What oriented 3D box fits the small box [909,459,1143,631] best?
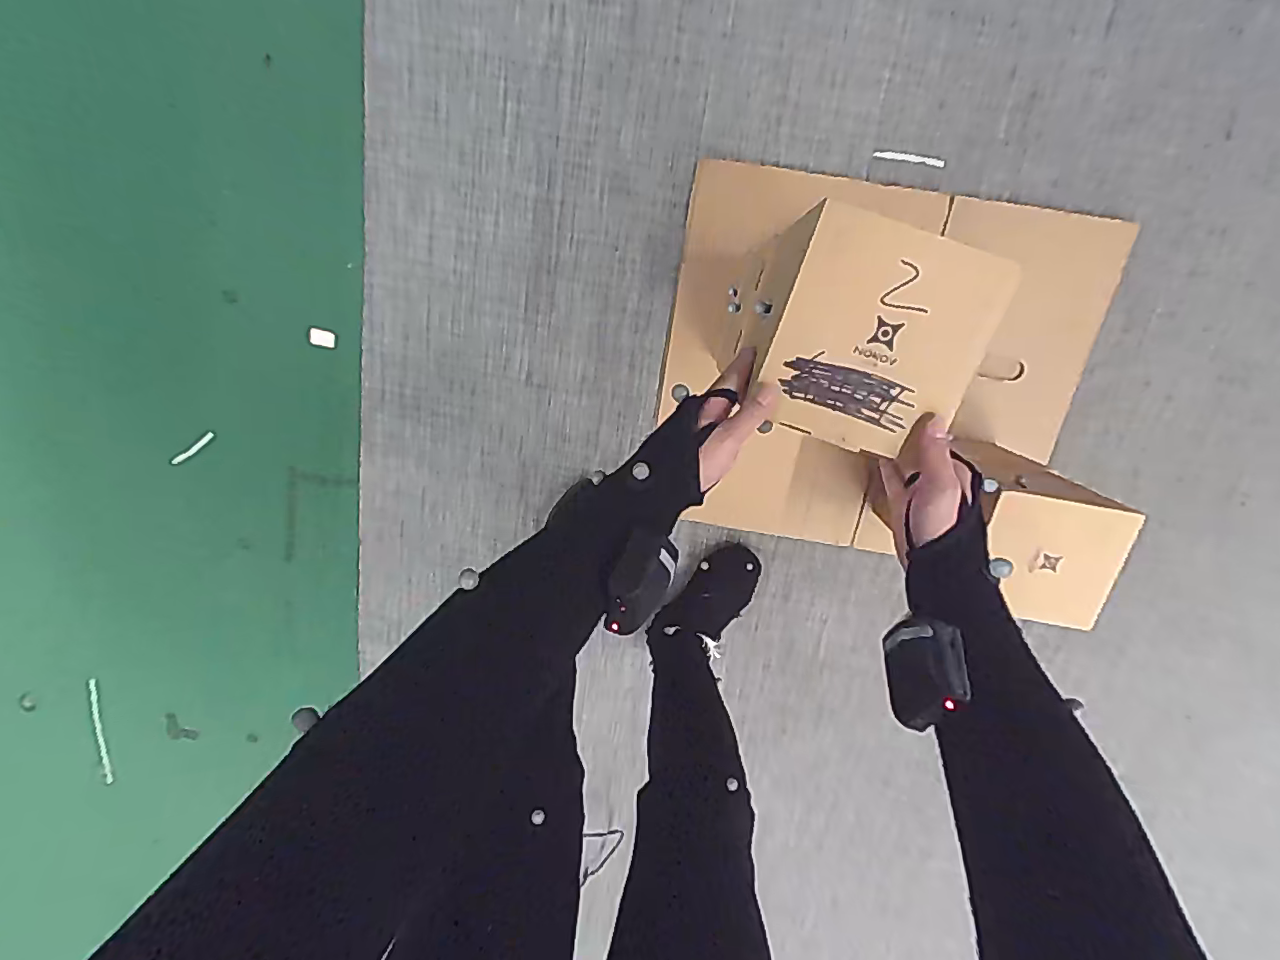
[{"bbox_3d":[0.510,0.079,0.747,0.179,0.176,0.168,10,108,3],"label":"small box"}]

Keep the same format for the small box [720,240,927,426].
[{"bbox_3d":[0.212,-0.184,0.682,0.179,0.176,0.168,17,107,-1],"label":"small box"}]

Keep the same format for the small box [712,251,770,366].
[{"bbox_3d":[0.222,-0.239,0.839,0.179,0.176,0.168,18,107,-1],"label":"small box"}]

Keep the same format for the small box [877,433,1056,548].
[{"bbox_3d":[0.523,0.026,0.899,0.179,0.176,0.168,11,107,1],"label":"small box"}]
